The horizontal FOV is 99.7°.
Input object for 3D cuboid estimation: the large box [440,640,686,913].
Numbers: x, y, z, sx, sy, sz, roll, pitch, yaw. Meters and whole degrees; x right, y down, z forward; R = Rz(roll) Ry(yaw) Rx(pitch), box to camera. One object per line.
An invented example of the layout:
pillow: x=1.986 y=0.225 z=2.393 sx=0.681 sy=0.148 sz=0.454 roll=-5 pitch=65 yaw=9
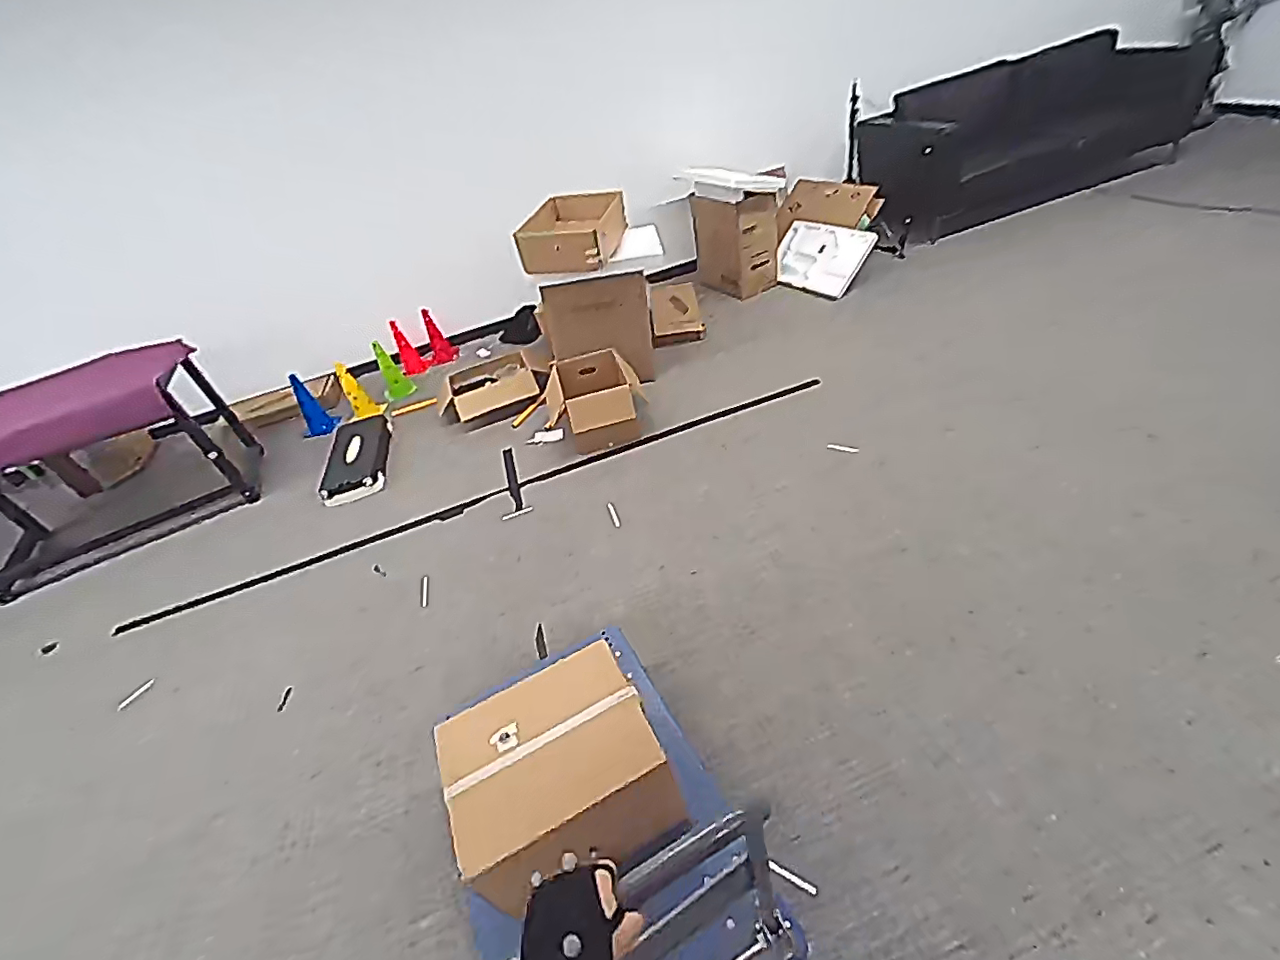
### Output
large box: x=-0.160 y=0.638 z=1.185 sx=0.408 sy=0.320 sz=0.320 roll=-25 pitch=40 yaw=-12
